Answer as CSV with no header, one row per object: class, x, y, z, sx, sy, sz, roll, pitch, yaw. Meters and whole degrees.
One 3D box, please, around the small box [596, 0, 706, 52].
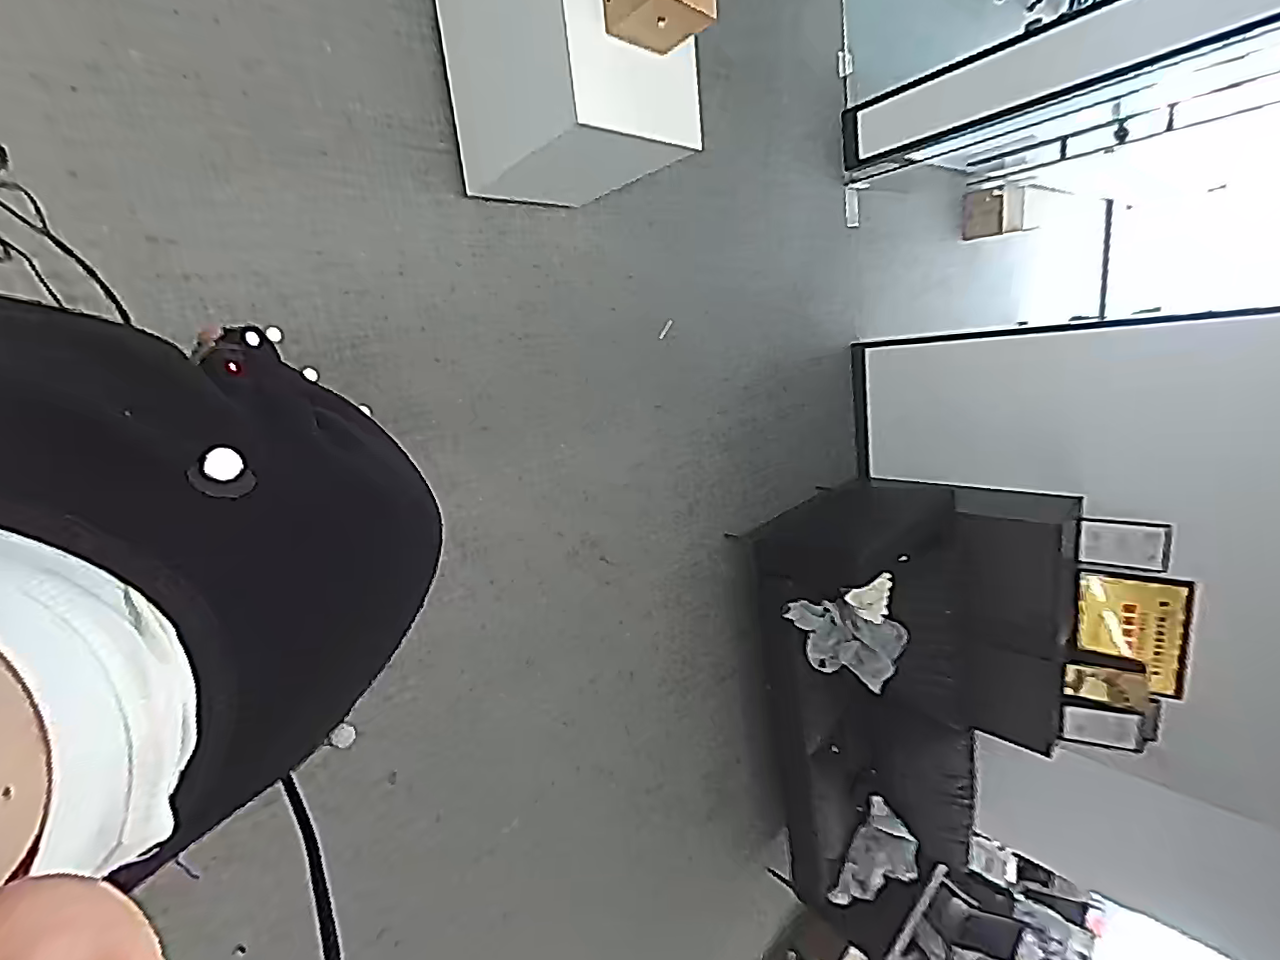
small box,0.014,-1.055,1.150,0.179,0.176,0.168,-21,110,-40
